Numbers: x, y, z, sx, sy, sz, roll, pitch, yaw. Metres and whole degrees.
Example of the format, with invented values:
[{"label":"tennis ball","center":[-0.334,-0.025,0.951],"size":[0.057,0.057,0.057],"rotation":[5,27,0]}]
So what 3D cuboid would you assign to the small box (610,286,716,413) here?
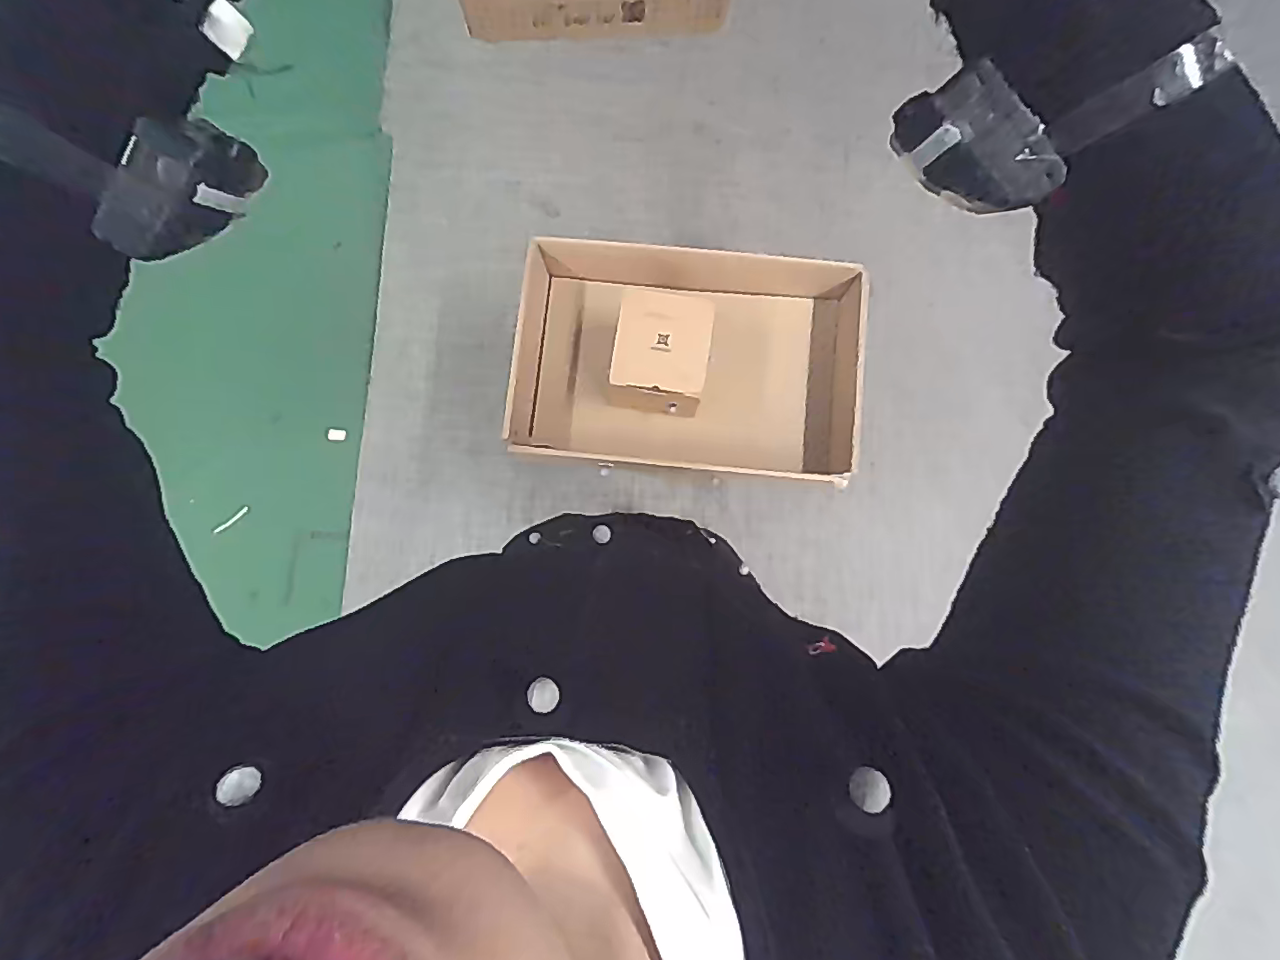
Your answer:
[{"label":"small box","center":[0.040,-0.234,1.015],"size":[0.168,0.176,0.179],"rotation":[8,83,0]}]
